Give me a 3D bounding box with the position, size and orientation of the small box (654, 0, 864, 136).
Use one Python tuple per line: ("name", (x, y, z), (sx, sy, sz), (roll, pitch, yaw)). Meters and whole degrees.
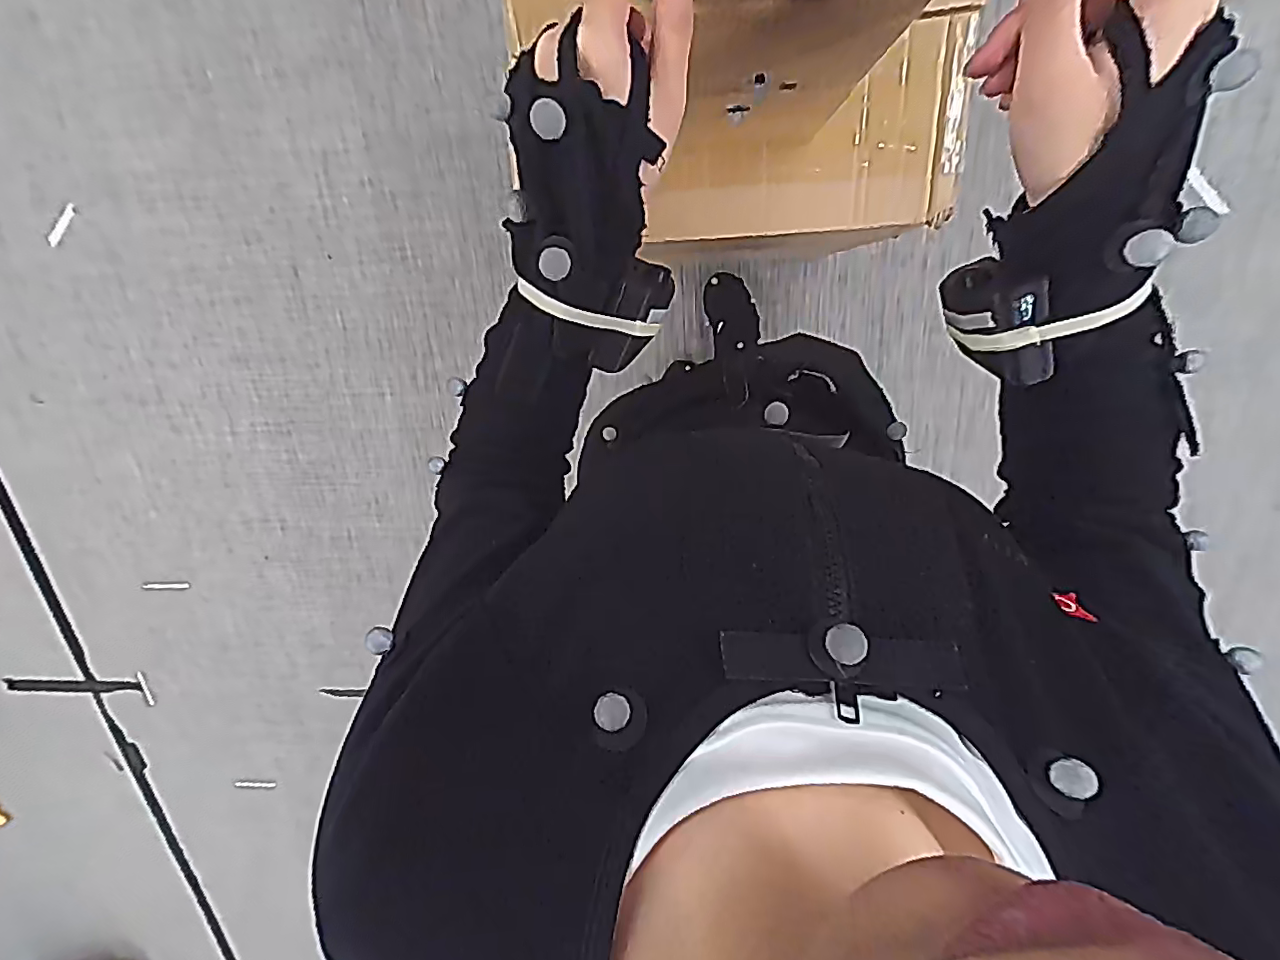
("small box", (0.105, -0.448, 0.520), (0.179, 0.176, 0.168), (0, 109, 4))
